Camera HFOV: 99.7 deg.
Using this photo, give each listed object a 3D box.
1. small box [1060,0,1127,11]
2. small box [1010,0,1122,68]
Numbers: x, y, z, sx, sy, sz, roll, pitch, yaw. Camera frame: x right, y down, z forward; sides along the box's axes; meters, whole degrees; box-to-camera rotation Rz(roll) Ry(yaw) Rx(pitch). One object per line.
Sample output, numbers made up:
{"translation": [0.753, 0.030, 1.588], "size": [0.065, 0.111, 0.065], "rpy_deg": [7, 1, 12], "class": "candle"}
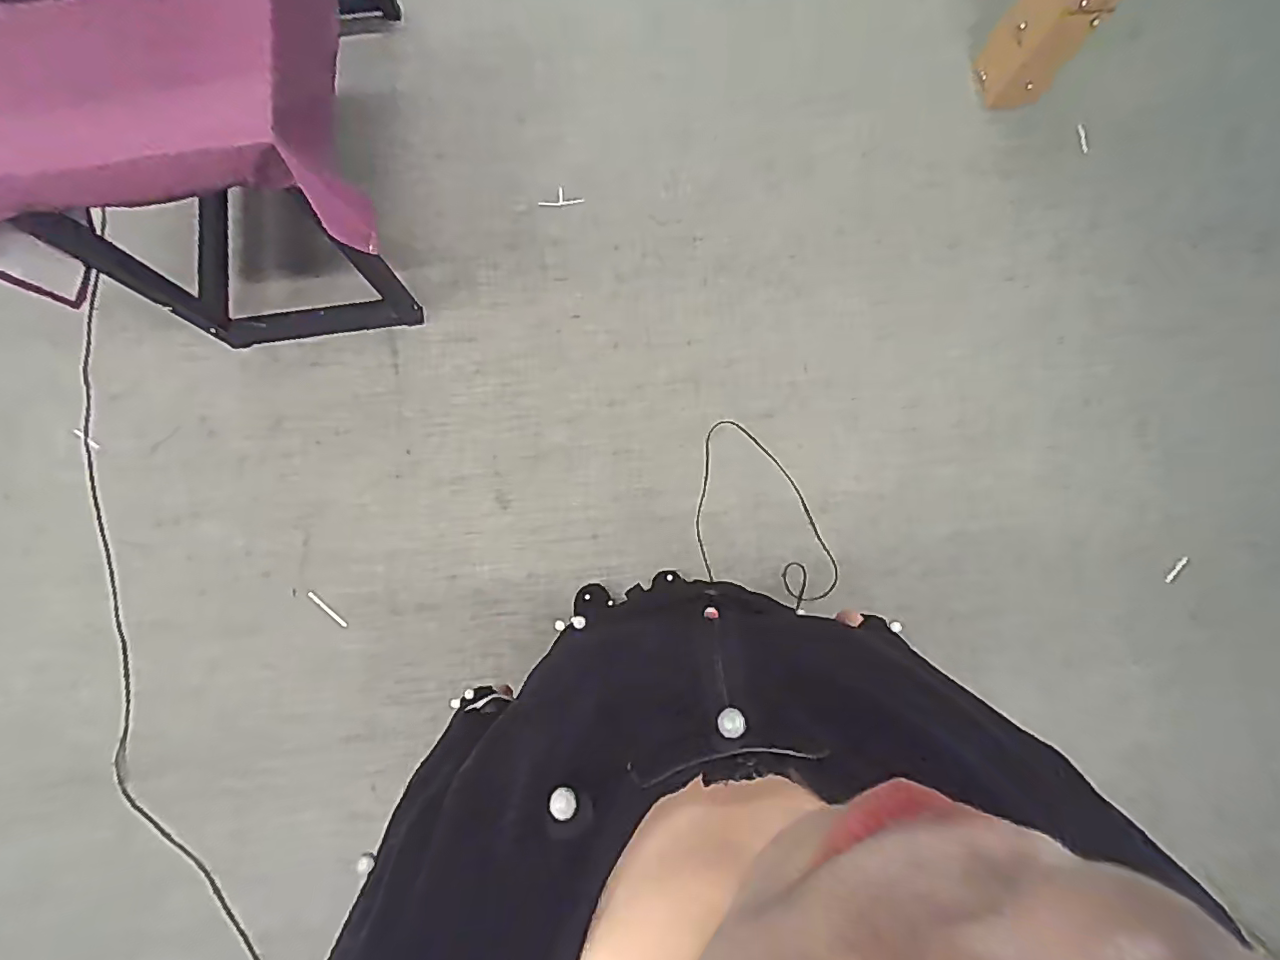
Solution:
{"translation": [1.234, -1.381, 1.421], "size": [0.168, 0.176, 0.179], "rpy_deg": [-6, 79, -1], "class": "small box"}
{"translation": [1.238, -1.359, 1.584], "size": [0.179, 0.176, 0.168], "rpy_deg": [-9, 79, -1], "class": "small box"}
